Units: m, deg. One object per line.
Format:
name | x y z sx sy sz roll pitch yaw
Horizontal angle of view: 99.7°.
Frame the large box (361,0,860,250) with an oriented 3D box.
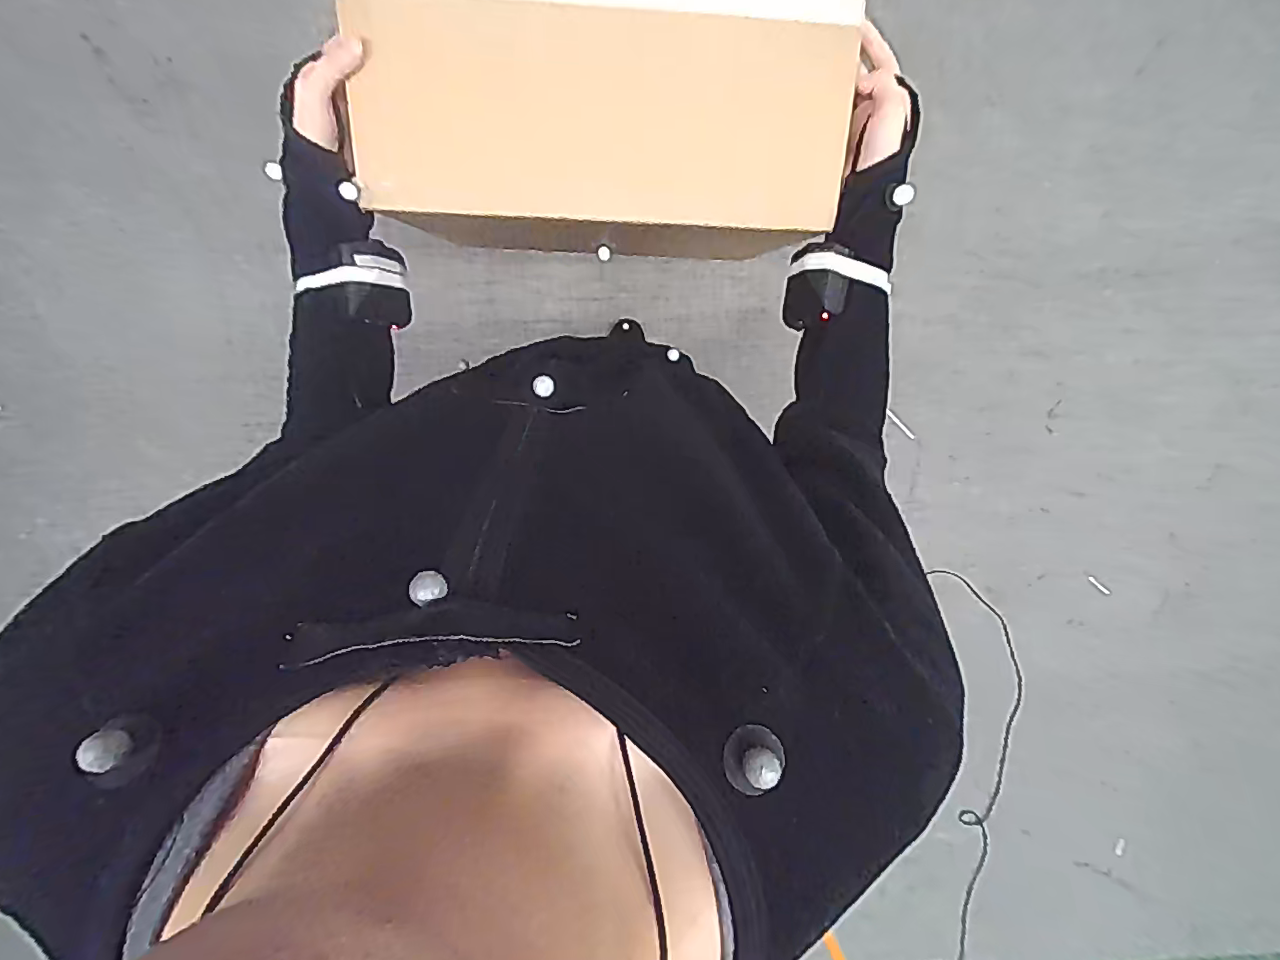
large box | -0.026 -0.422 0.570 0.408 0.320 0.320 1 107 -3
